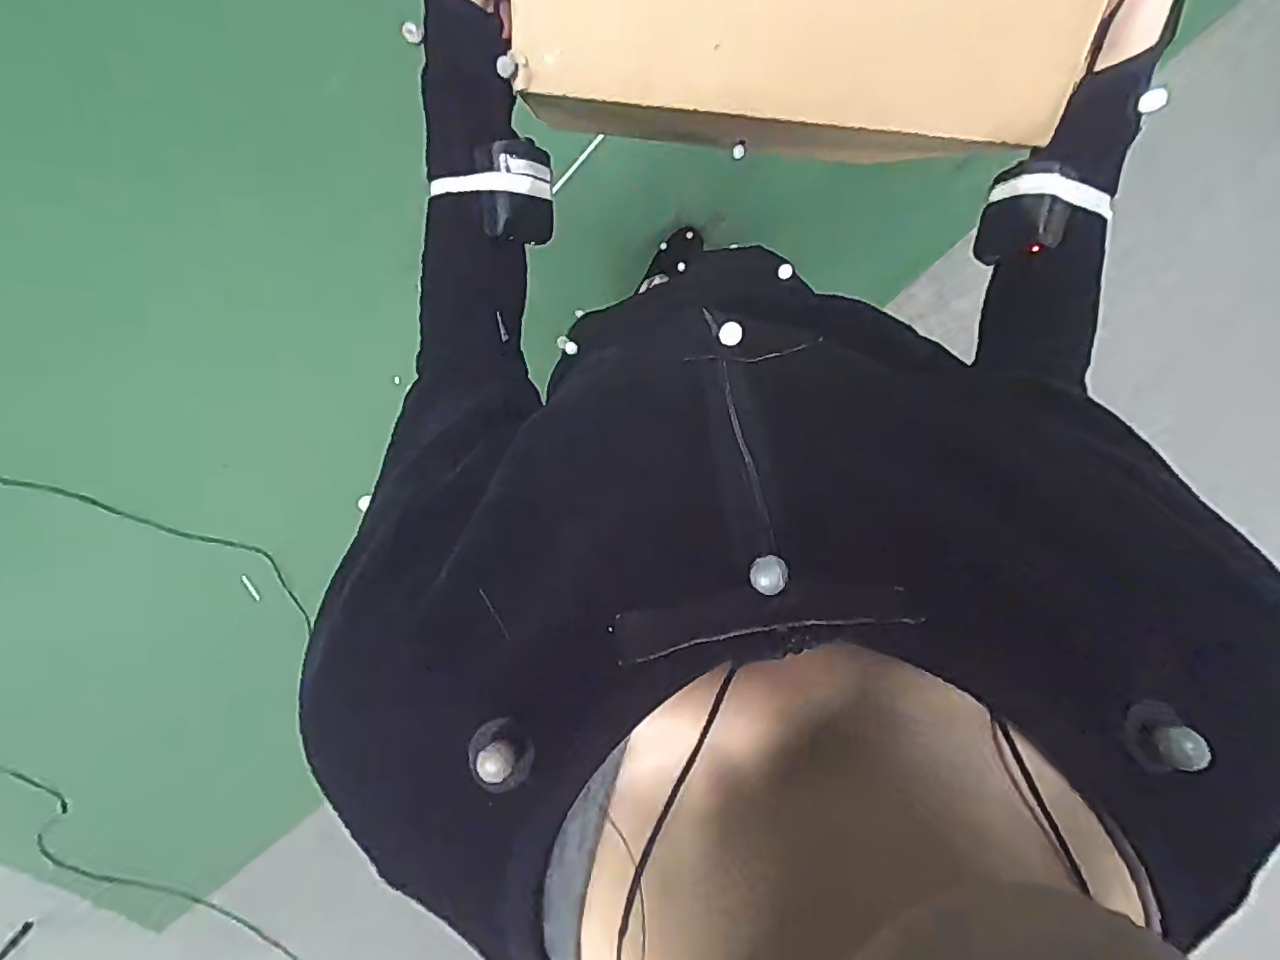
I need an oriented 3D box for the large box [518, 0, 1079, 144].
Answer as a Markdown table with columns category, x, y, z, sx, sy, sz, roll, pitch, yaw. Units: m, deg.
| category | x | y | z | sx | sy | sz | roll | pitch | yaw |
| --- | --- | --- | --- | --- | --- | --- | --- | --- | --- |
| large box | 0.114 | -0.484 | 0.463 | 0.408 | 0.320 | 0.320 | 2 | 118 | -5 |
